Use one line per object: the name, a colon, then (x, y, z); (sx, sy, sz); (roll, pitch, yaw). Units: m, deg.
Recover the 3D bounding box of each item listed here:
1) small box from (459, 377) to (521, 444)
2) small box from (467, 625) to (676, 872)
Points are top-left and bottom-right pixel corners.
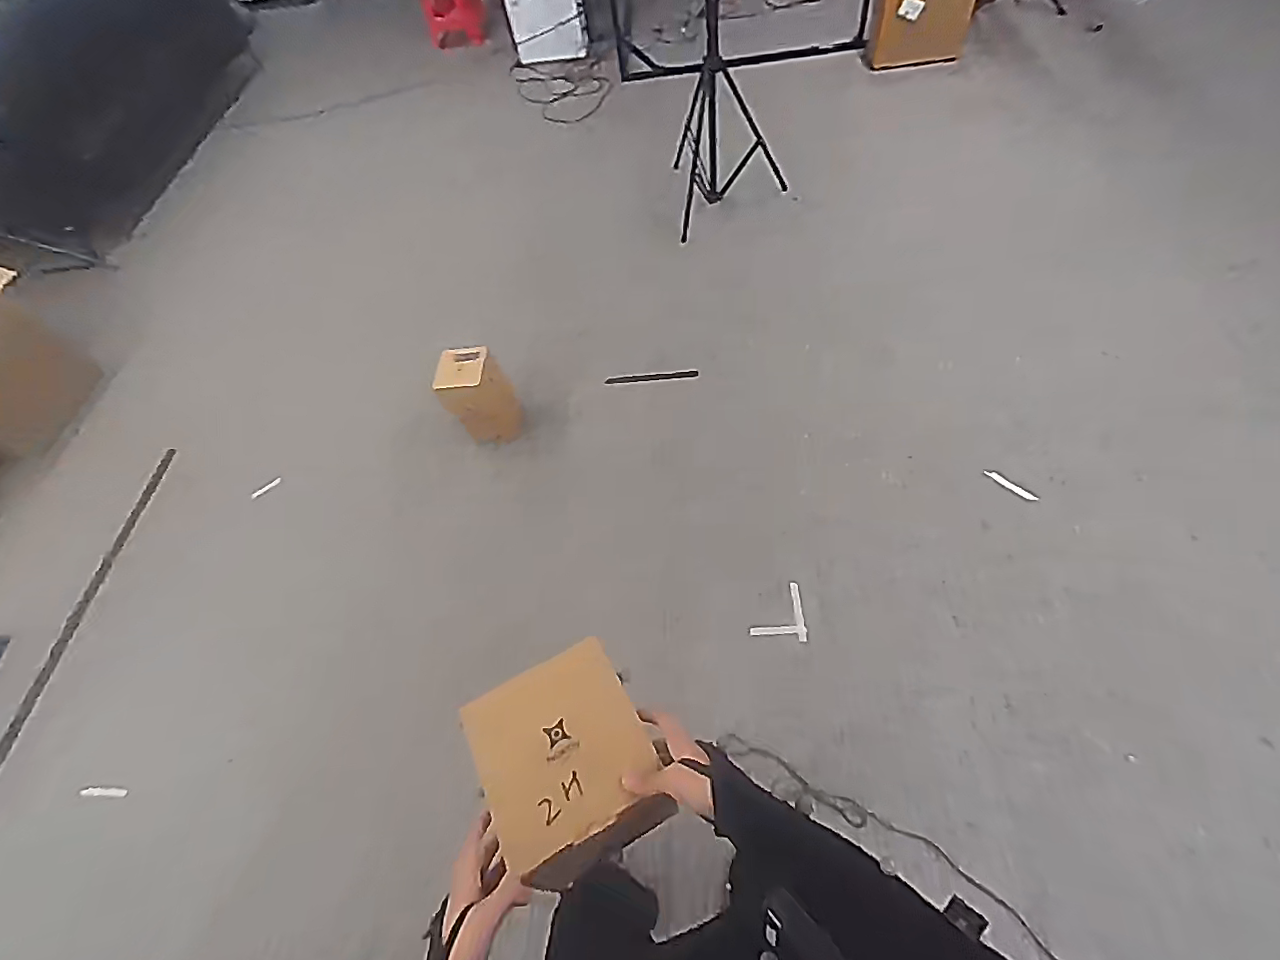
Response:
small box: (-0.551, -0.258, 2.017); (0.168, 0.176, 0.179); (-5, 58, 7)
small box: (-0.072, 0.303, 0.610); (0.168, 0.176, 0.179); (-25, 52, -13)
